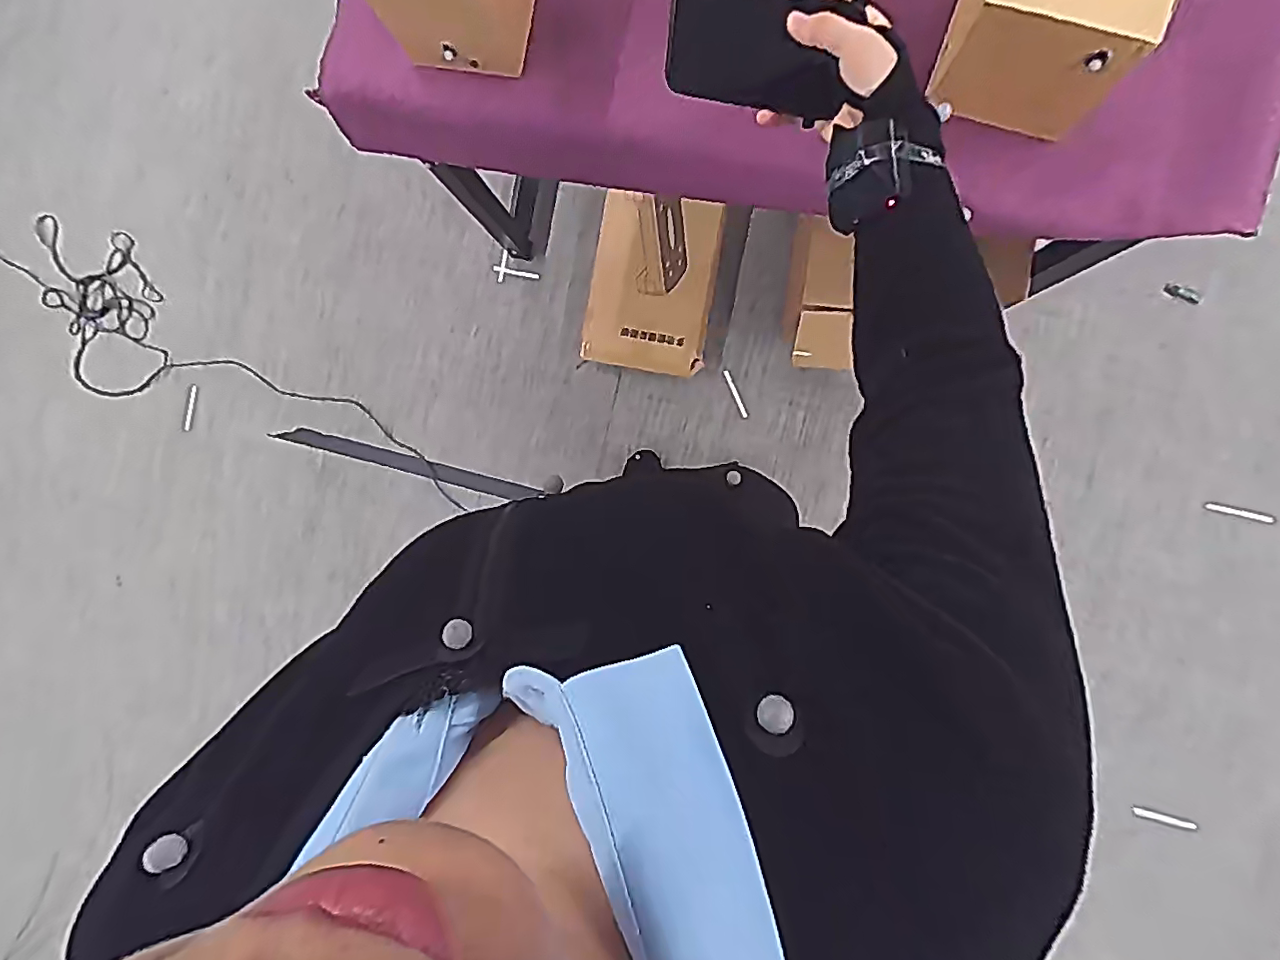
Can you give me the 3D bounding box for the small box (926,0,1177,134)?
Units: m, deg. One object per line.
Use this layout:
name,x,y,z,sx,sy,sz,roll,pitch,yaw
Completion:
small box,0.457,-0.530,0.606,0.179,0.176,0.168,18,94,5
